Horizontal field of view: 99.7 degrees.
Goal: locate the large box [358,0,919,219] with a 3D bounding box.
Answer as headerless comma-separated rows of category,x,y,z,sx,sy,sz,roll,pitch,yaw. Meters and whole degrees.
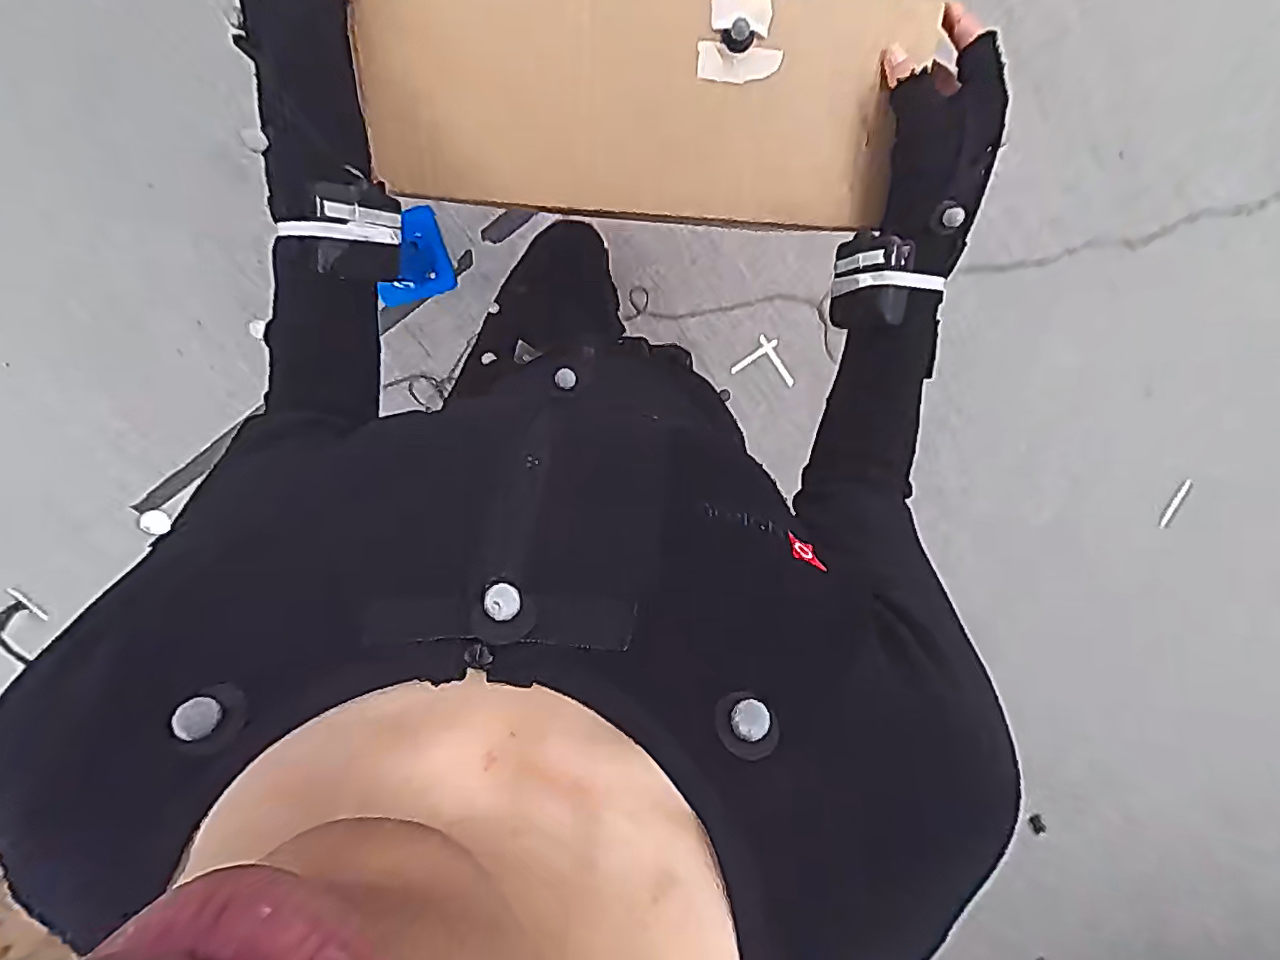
large box,-0.001,-0.427,0.505,0.408,0.320,0.320,3,115,-2

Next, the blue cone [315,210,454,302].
blue cone,-0.575,-0.504,1.186,0.192,0.380,0.193,-12,107,6
